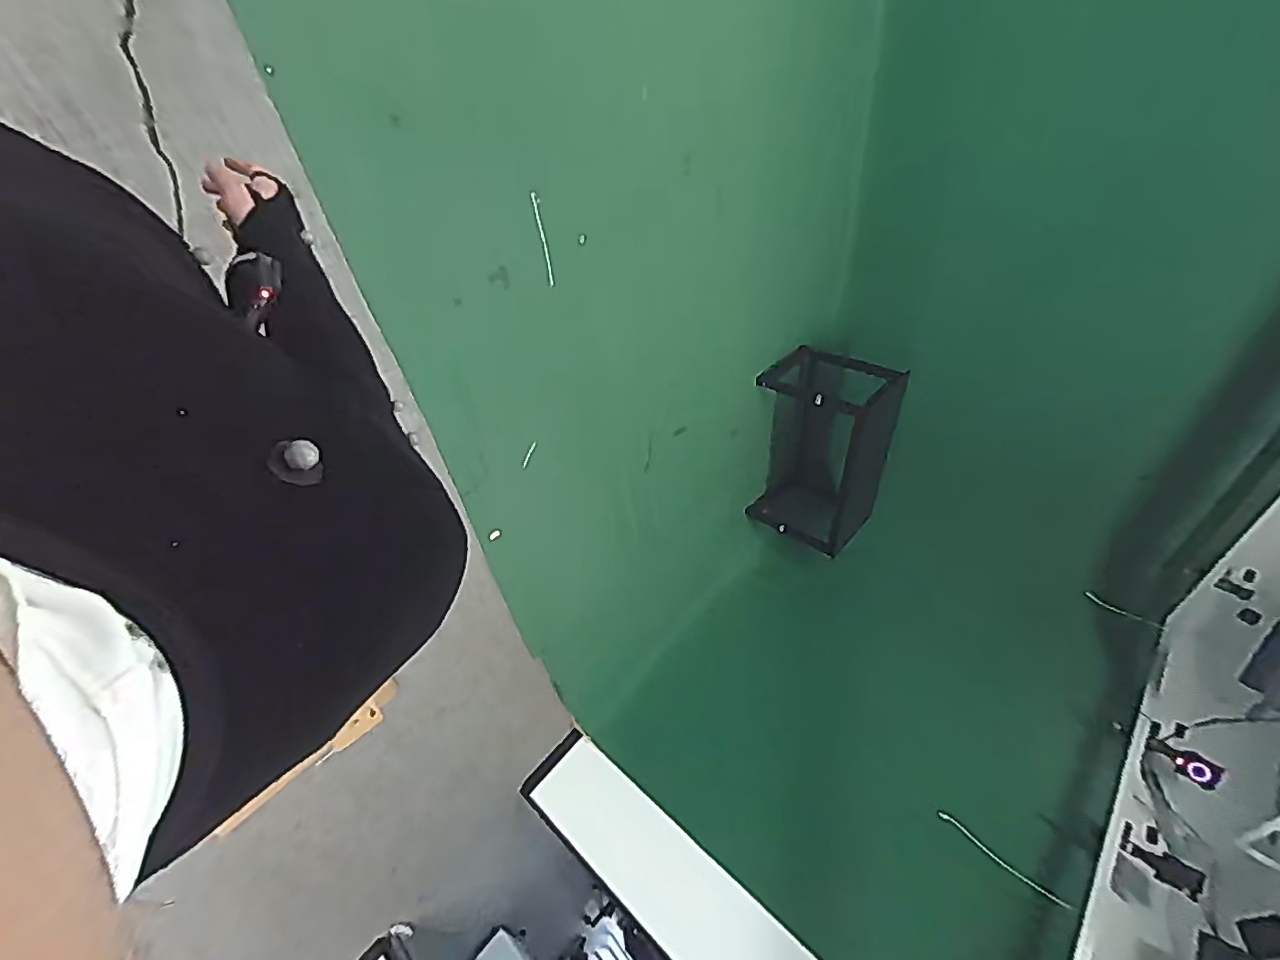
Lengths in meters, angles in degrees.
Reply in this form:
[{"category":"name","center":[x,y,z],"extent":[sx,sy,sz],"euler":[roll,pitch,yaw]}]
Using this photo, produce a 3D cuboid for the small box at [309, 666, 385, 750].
[{"category":"small box","center":[-1.059,0.814,1.942],"extent":[0.179,0.176,0.168],"euler":[-33,137,-36]}]
